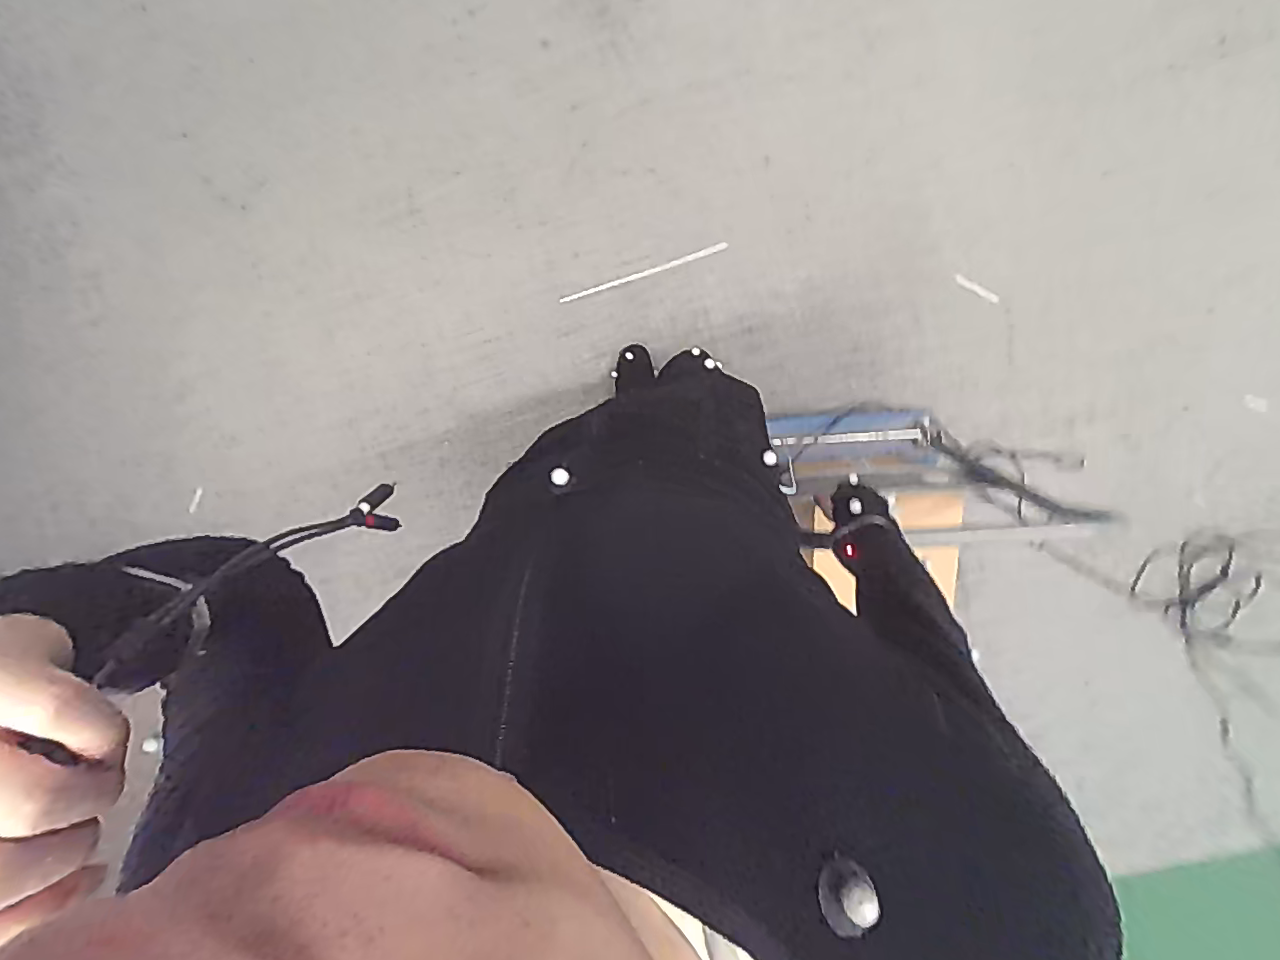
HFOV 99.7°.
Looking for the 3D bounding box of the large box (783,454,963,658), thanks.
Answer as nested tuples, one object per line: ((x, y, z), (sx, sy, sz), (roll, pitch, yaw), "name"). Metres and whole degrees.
((0.541, 0.171, 1.332), (0.320, 0.320, 0.408), (-3, 106, 3), "large box")
